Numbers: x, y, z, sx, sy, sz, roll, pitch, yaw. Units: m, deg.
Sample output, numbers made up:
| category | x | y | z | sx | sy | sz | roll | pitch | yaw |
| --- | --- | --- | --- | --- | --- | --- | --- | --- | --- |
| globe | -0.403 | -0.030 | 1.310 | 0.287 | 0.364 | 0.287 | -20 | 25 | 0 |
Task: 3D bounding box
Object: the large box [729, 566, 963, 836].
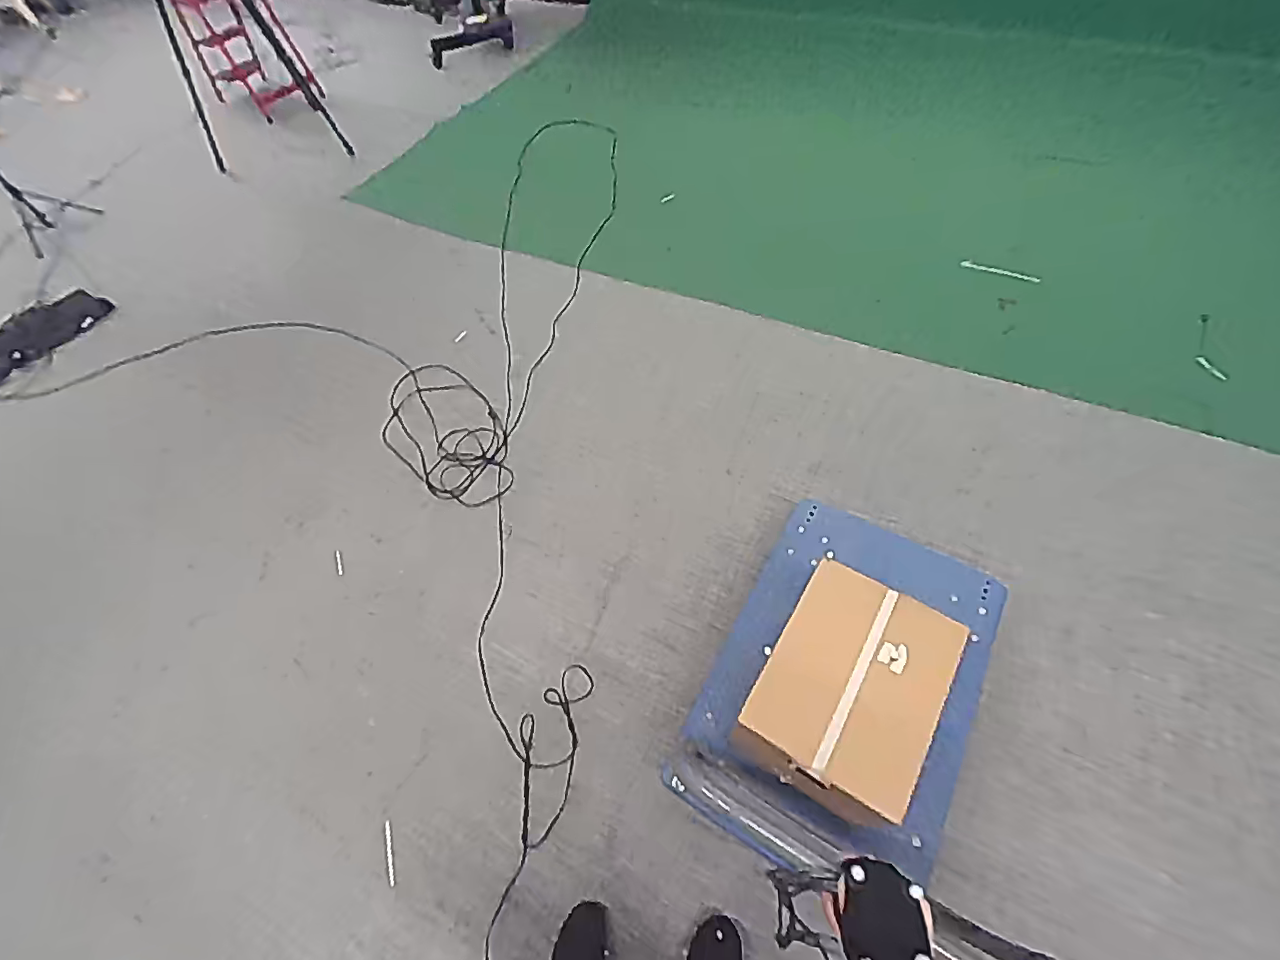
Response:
| category | x | y | z | sx | sy | sz | roll | pitch | yaw |
| --- | --- | --- | --- | --- | --- | --- | --- | --- | --- |
| large box | 0.423 | 0.474 | 1.164 | 0.320 | 0.320 | 0.408 | 28 | 62 | 20 |
